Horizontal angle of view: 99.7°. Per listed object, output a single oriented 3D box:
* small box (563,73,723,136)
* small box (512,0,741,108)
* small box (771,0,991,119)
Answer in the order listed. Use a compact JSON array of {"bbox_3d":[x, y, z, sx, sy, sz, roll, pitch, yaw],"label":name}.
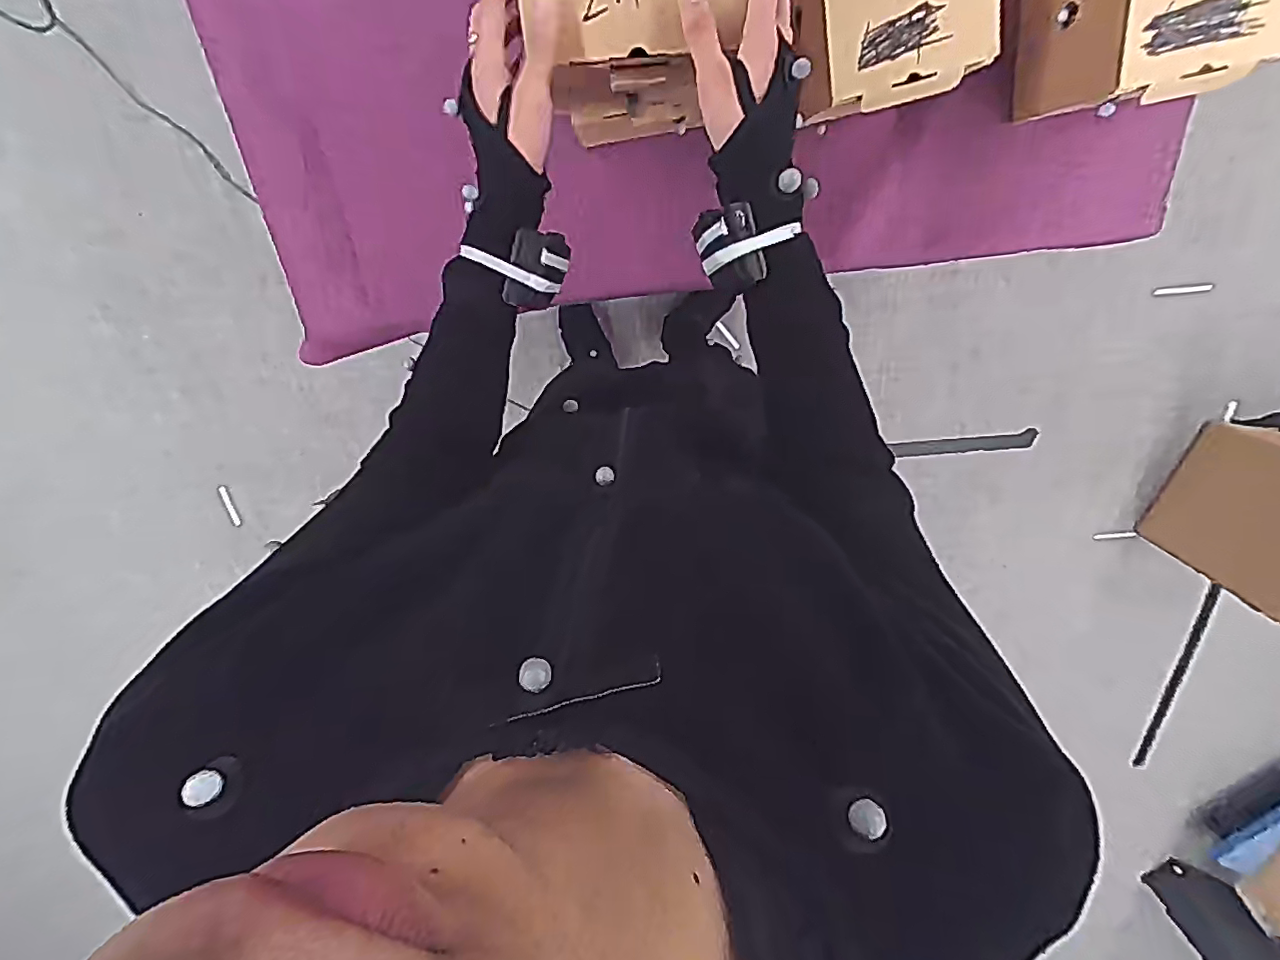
[{"bbox_3d":[-0.008,-0.487,0.583,0.168,0.176,0.179,-8,115,2],"label":"small box"},{"bbox_3d":[-0.015,-0.422,0.432,0.168,0.176,0.179,-4,115,1],"label":"small box"},{"bbox_3d":[0.244,-0.509,0.577,0.168,0.176,0.179,-13,115,5],"label":"small box"}]
